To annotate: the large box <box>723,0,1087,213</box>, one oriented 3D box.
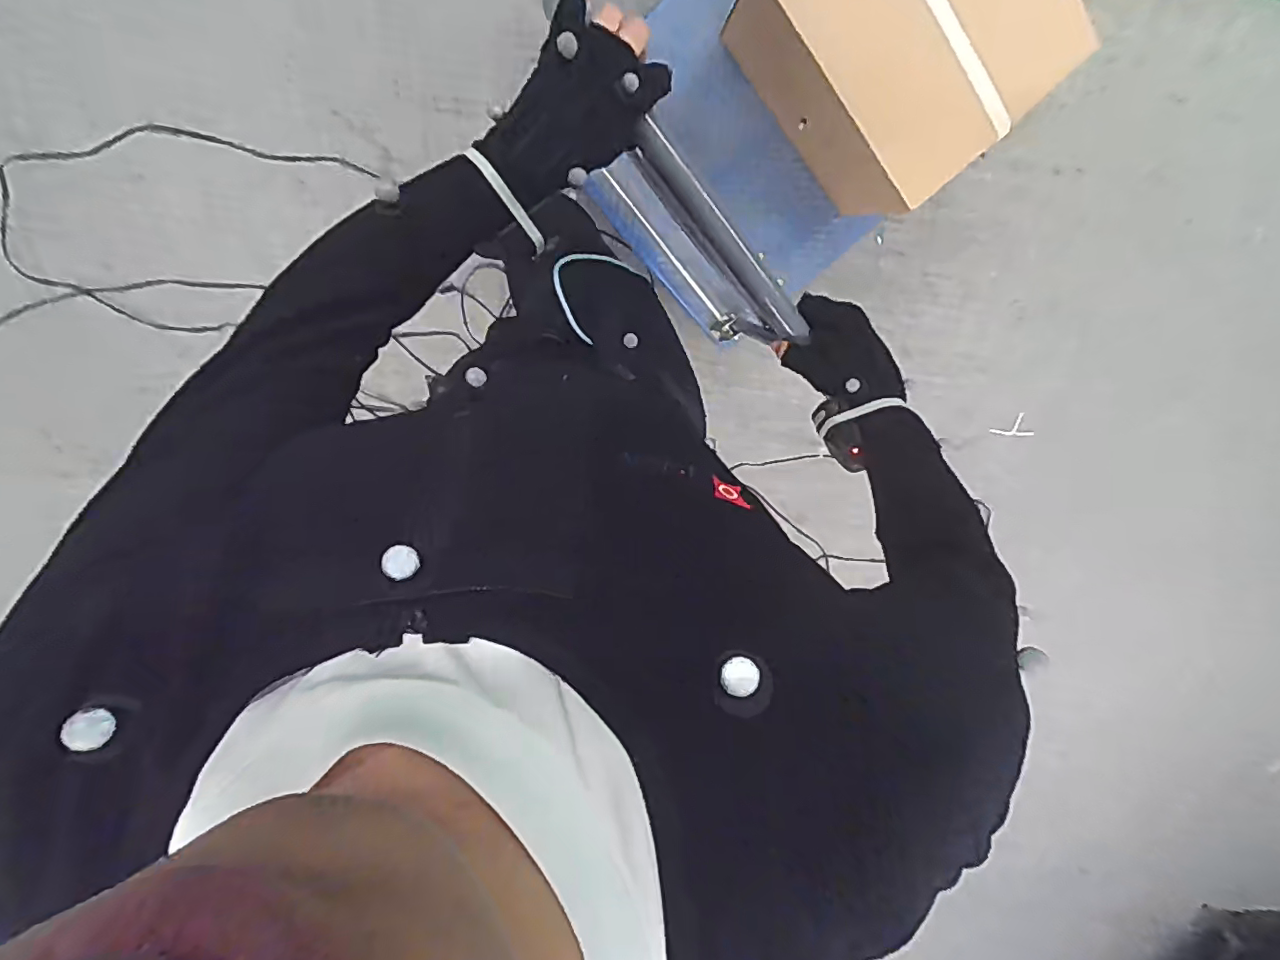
[{"bbox_3d":[0.396,-0.713,0.889,0.320,0.320,0.408,-41,109,15],"label":"large box"}]
